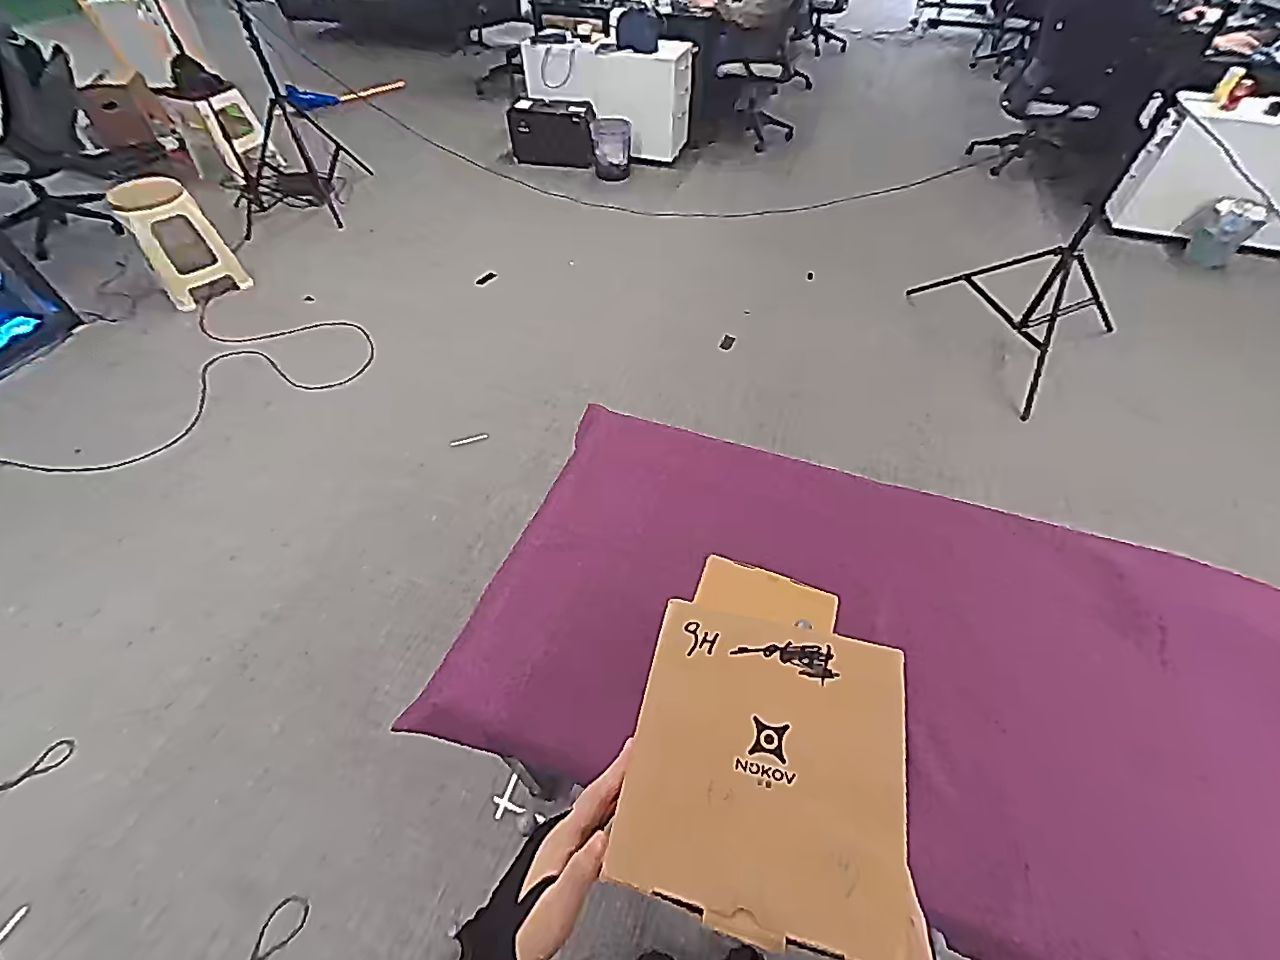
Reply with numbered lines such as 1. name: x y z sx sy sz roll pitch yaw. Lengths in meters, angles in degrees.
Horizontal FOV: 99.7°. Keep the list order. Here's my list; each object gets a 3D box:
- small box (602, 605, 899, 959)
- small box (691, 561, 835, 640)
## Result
1. small box: 0.082 0.222 0.408 0.168 0.176 0.179 10 56 11
2. small box: 0.134 0.240 0.694 0.168 0.176 0.179 17 51 13
